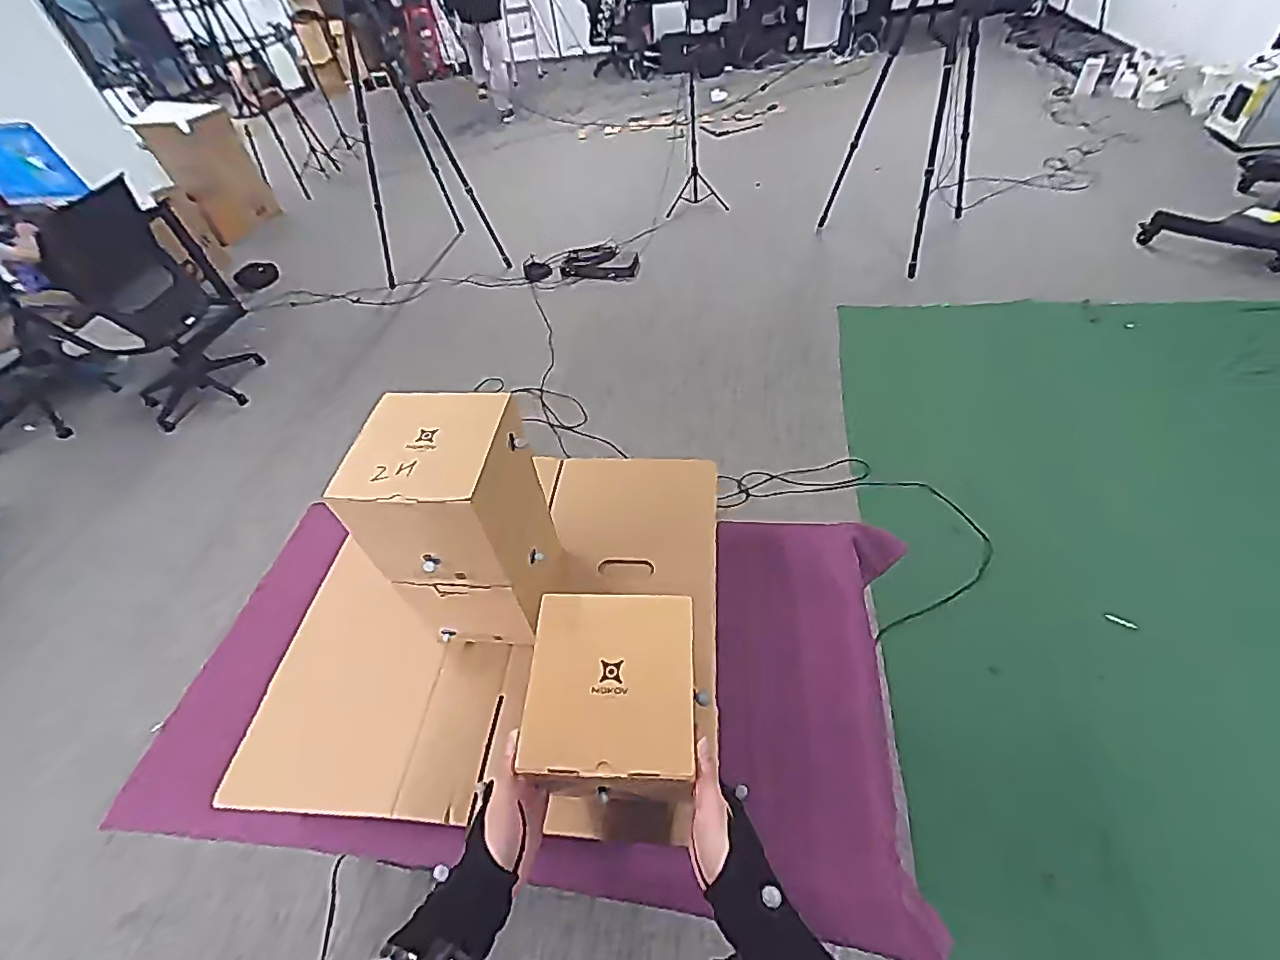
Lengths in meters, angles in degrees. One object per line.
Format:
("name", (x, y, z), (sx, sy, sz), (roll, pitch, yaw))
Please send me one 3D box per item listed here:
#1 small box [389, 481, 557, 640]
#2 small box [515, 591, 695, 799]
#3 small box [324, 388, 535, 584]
("small box", (-0.225, 0.117, 0.788), (0.168, 0.176, 0.179), (2, 48, 6))
("small box", (-0.025, 0.239, 0.594), (0.168, 0.176, 0.179), (0, 55, 4))
("small box", (-0.237, 0.007, 0.668), (0.168, 0.176, 0.179), (1, 49, 7))
